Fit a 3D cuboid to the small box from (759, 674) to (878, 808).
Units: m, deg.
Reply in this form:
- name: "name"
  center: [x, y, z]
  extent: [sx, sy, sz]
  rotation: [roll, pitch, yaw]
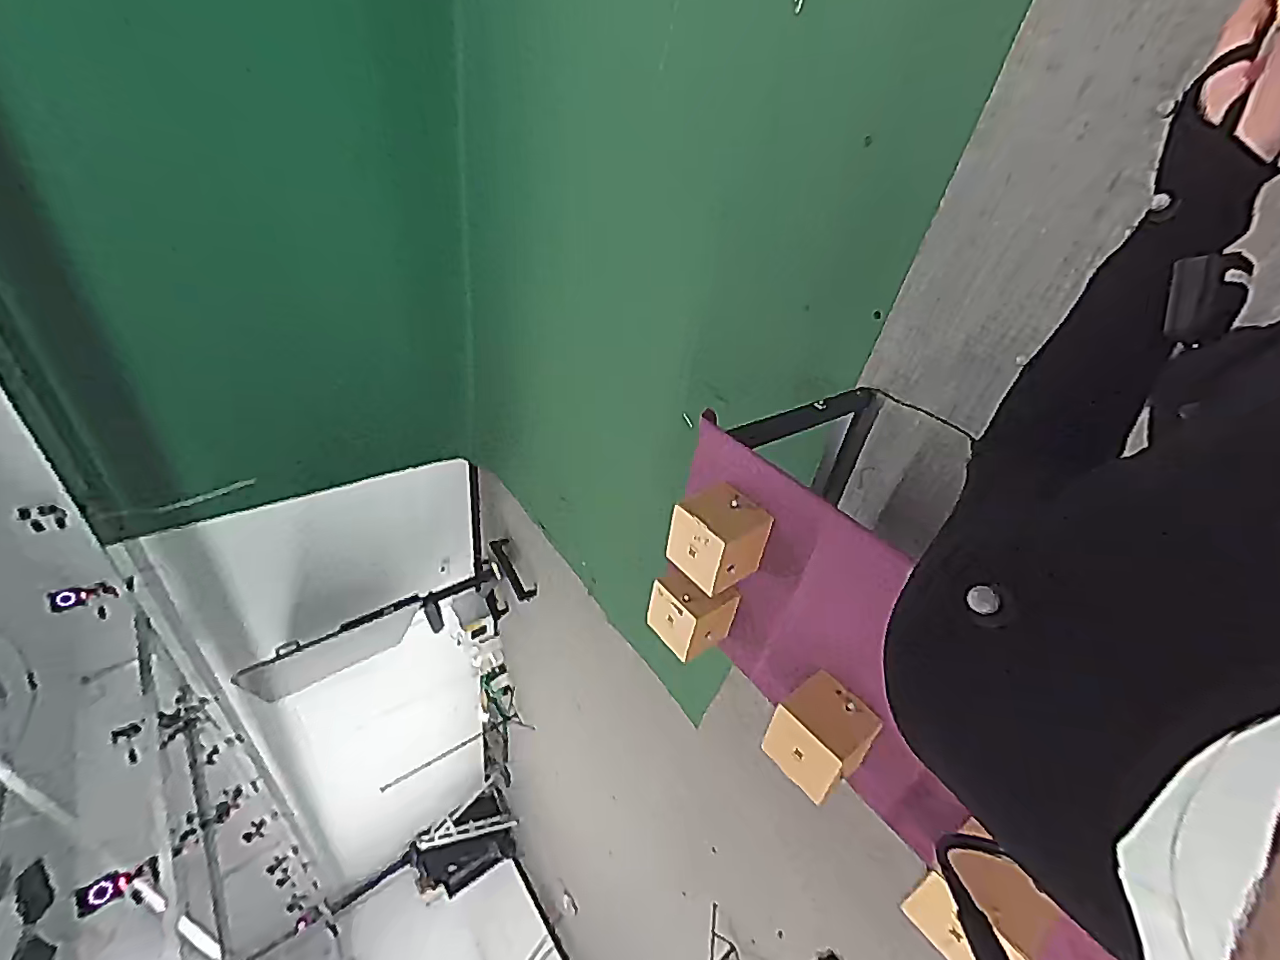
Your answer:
- name: "small box"
  center: [0.399, 0.576, 1.209]
  extent: [0.168, 0.176, 0.179]
  rotation: [38, 133, 37]

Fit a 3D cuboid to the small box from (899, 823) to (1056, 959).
- name: "small box"
  center: [0.621, 0.782, 0.994]
  extent: [0.168, 0.176, 0.179]
  rotation: [39, 135, 39]

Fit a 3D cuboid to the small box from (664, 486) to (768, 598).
- name: "small box"
  center: [0.181, 0.143, 1.298]
  extent: [0.168, 0.176, 0.179]
  rotation: [40, 136, 36]

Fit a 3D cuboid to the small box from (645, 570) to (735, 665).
- name: "small box"
  center: [0.135, 0.356, 1.466]
  extent: [0.168, 0.176, 0.179]
  rotation: [39, 135, 37]
